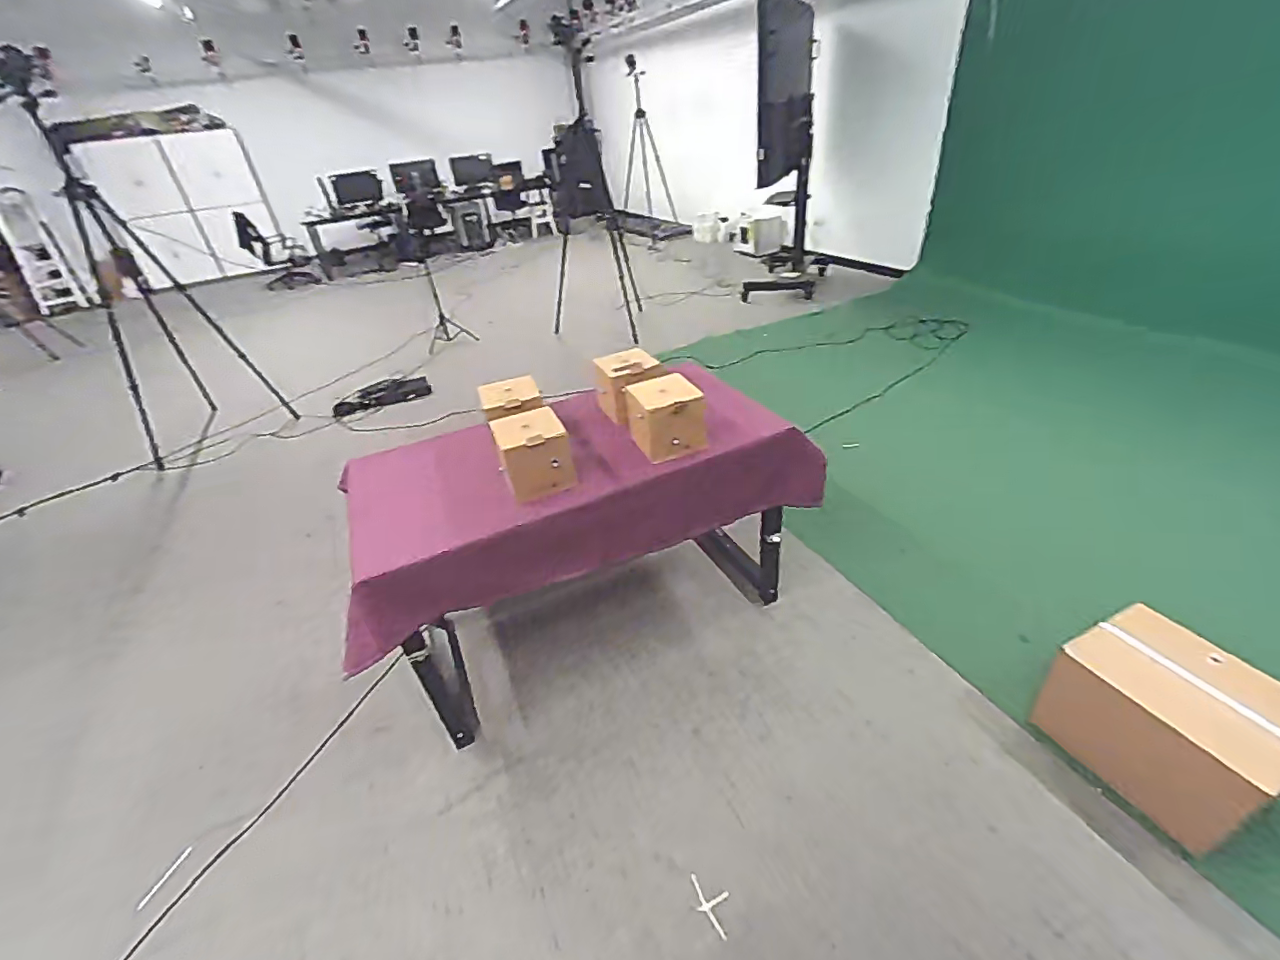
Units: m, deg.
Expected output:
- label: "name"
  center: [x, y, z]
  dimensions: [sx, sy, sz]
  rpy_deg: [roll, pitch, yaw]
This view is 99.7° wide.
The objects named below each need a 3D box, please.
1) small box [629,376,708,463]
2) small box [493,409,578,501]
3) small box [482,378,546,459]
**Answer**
- label: "small box"
  center: [0.079, -0.171, 1.515]
  dimensions: [0.168, 0.176, 0.179]
  rpy_deg: [-17, 35, -14]
- label: "small box"
  center: [-0.273, -0.061, 1.424]
  dimensions: [0.168, 0.176, 0.179]
  rpy_deg: [-18, 34, -16]
- label: "small box"
  center: [-0.366, -0.183, 1.618]
  dimensions: [0.168, 0.176, 0.179]
  rpy_deg: [-16, 35, -12]
